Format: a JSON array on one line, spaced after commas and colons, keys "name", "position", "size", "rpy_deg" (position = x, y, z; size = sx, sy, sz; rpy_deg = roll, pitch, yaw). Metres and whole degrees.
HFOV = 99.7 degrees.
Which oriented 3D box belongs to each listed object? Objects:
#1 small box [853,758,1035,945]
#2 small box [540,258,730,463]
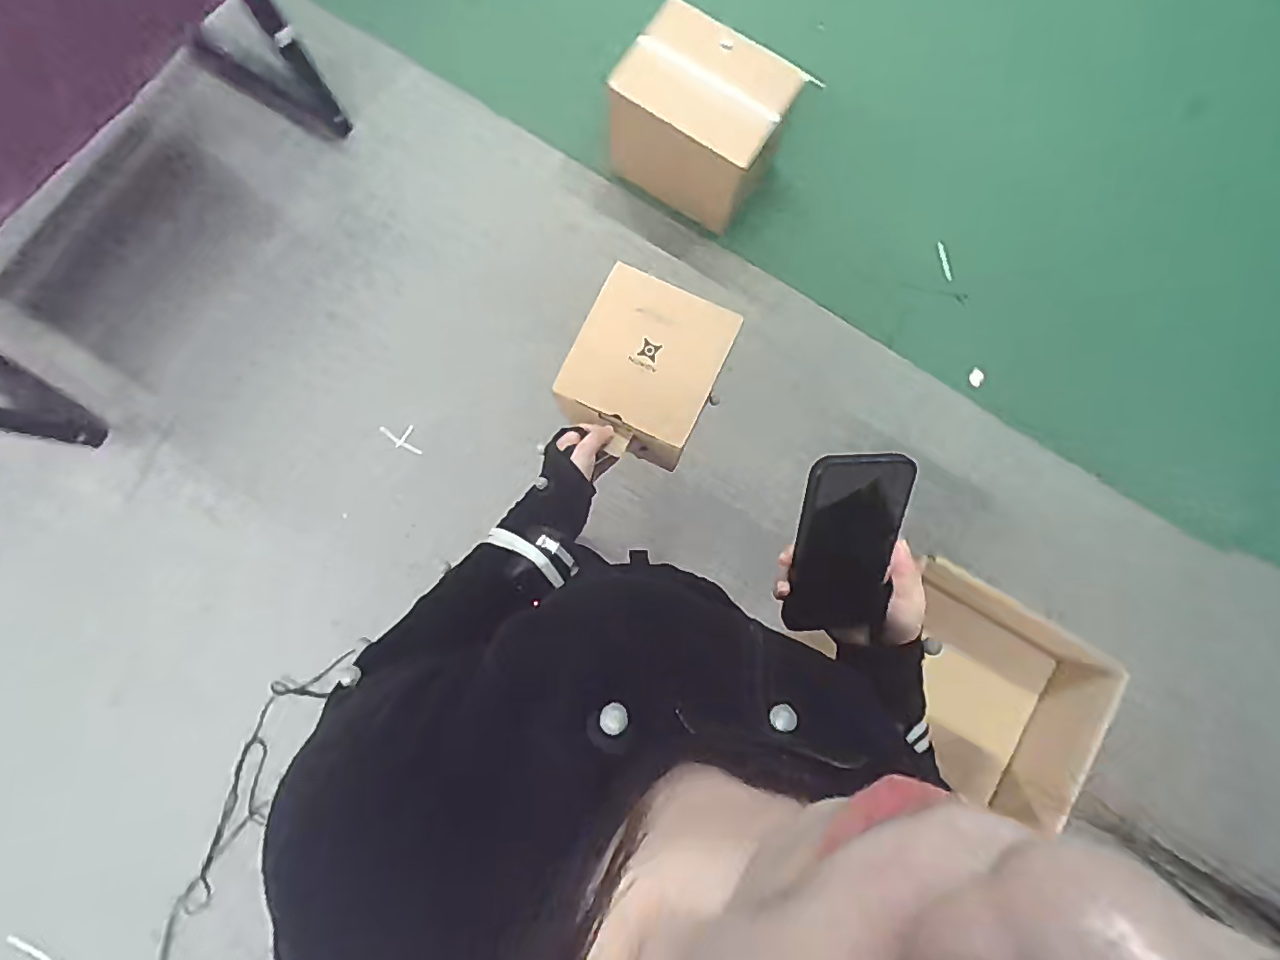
[{"name": "small box", "position": [0.501, 0.609, 0.917], "size": [0.179, 0.176, 0.168], "rpy_deg": [31, 82, 3]}, {"name": "small box", "position": [-0.004, -0.137, 0.692], "size": [0.168, 0.176, 0.179], "rpy_deg": [25, 84, 2]}]
